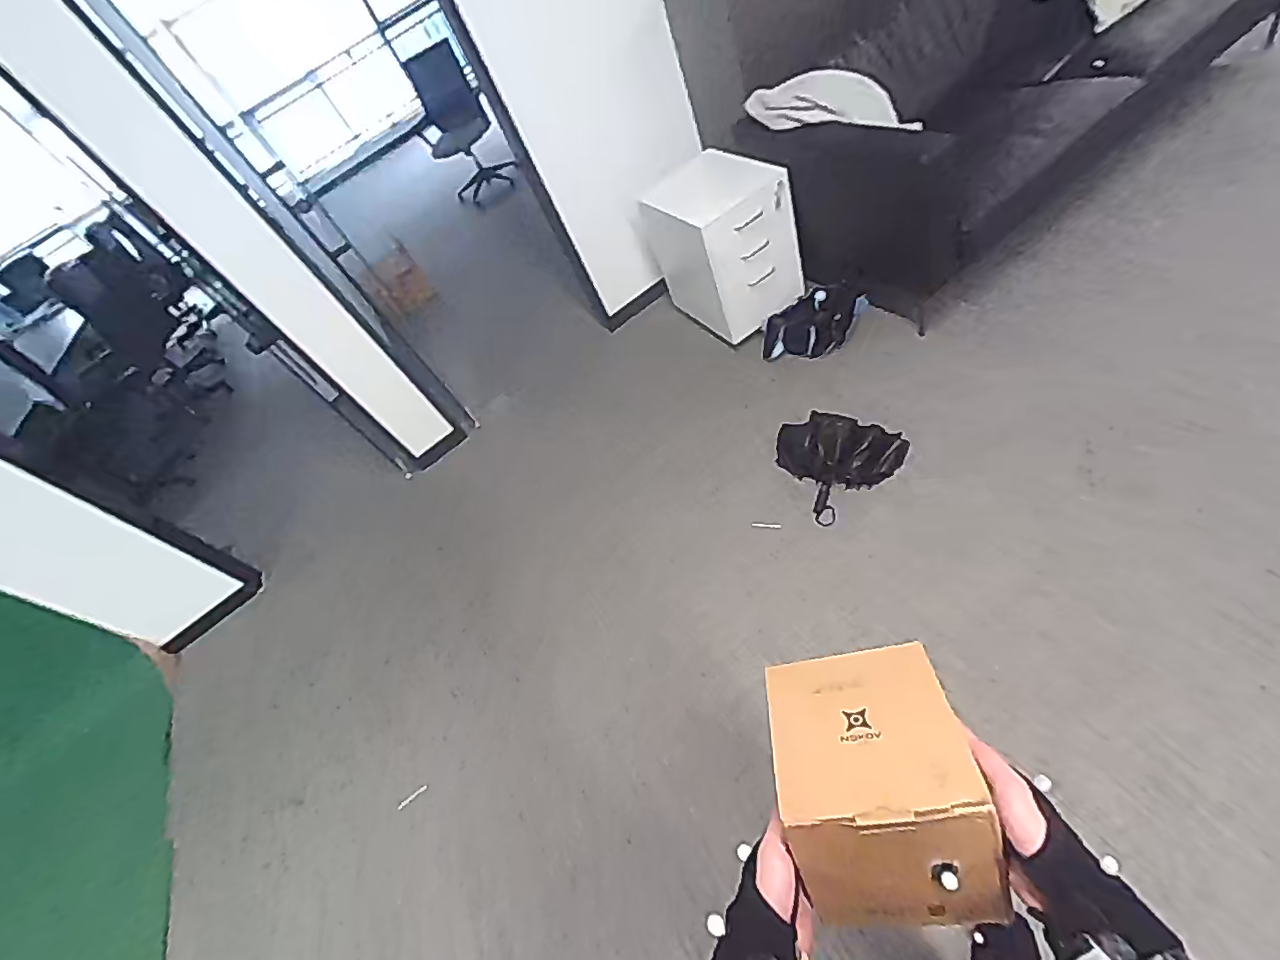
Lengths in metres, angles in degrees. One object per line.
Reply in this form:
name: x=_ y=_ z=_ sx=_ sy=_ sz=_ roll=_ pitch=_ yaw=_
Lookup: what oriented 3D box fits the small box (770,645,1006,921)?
small box: x=0.234 y=0.296 z=0.534 sx=0.168 sy=0.176 sz=0.179 roll=-14 pitch=22 yaw=15
